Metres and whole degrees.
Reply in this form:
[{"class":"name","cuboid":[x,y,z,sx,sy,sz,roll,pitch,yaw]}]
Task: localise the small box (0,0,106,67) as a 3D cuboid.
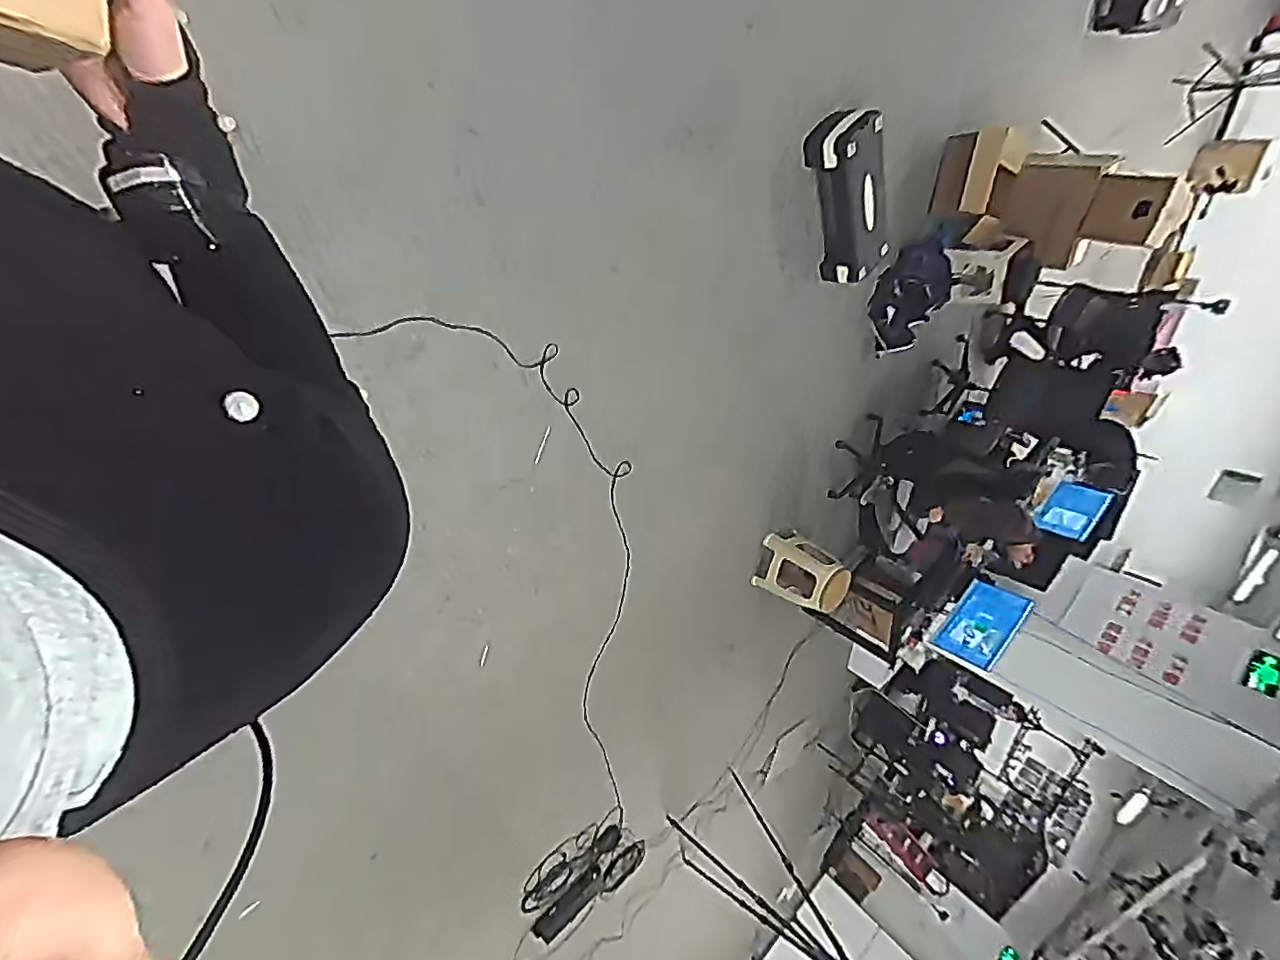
[{"class":"small box","cuboid":[-0.382,-0.317,0.239,0.168,0.176,0.179,-18,123,-54]}]
